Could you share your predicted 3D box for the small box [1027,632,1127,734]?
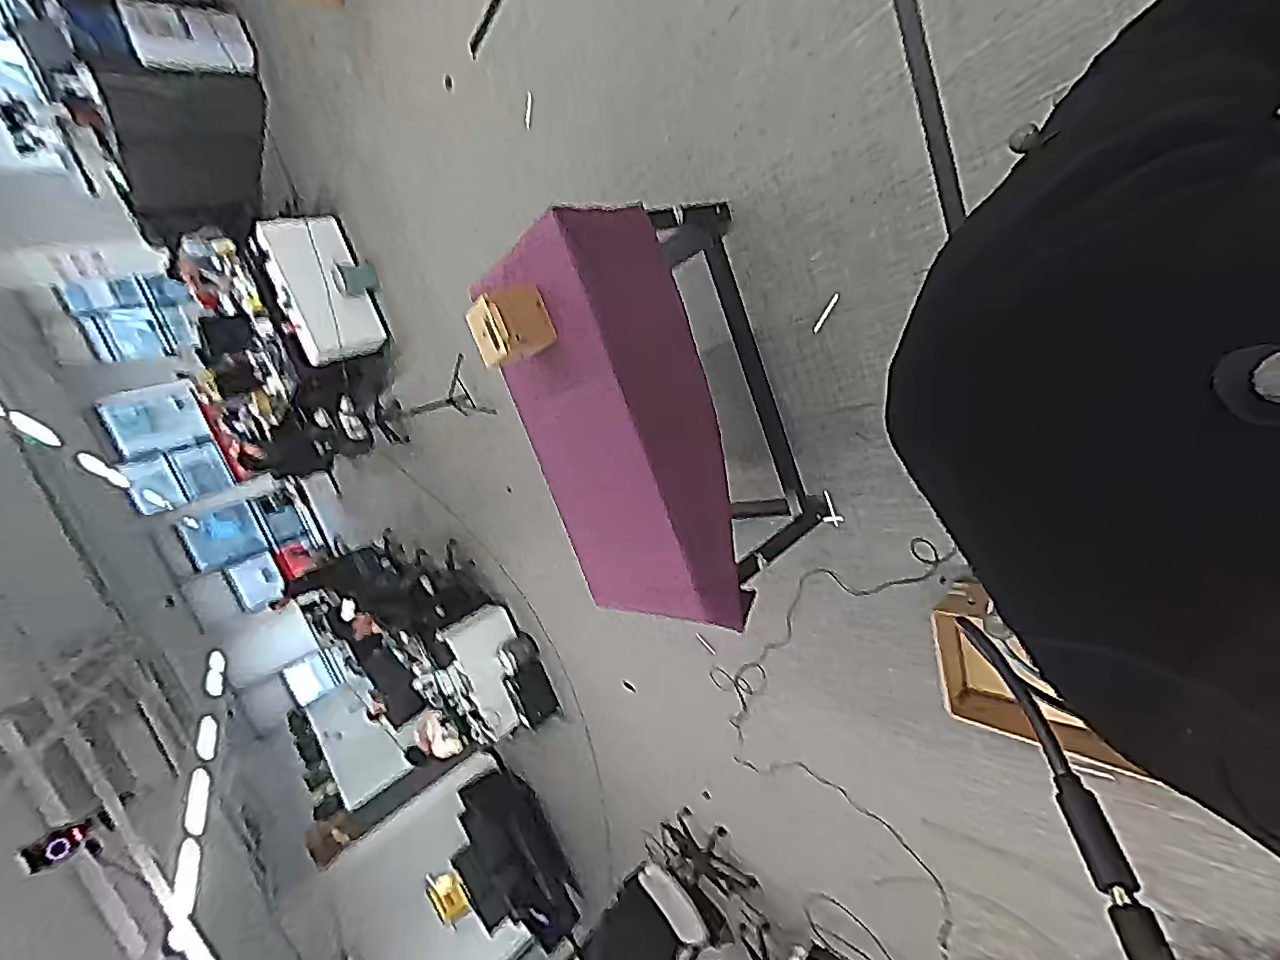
[{"bbox_3d":[1.176,0.535,1.454,0.168,0.176,0.179,-6,107,54],"label":"small box"}]
